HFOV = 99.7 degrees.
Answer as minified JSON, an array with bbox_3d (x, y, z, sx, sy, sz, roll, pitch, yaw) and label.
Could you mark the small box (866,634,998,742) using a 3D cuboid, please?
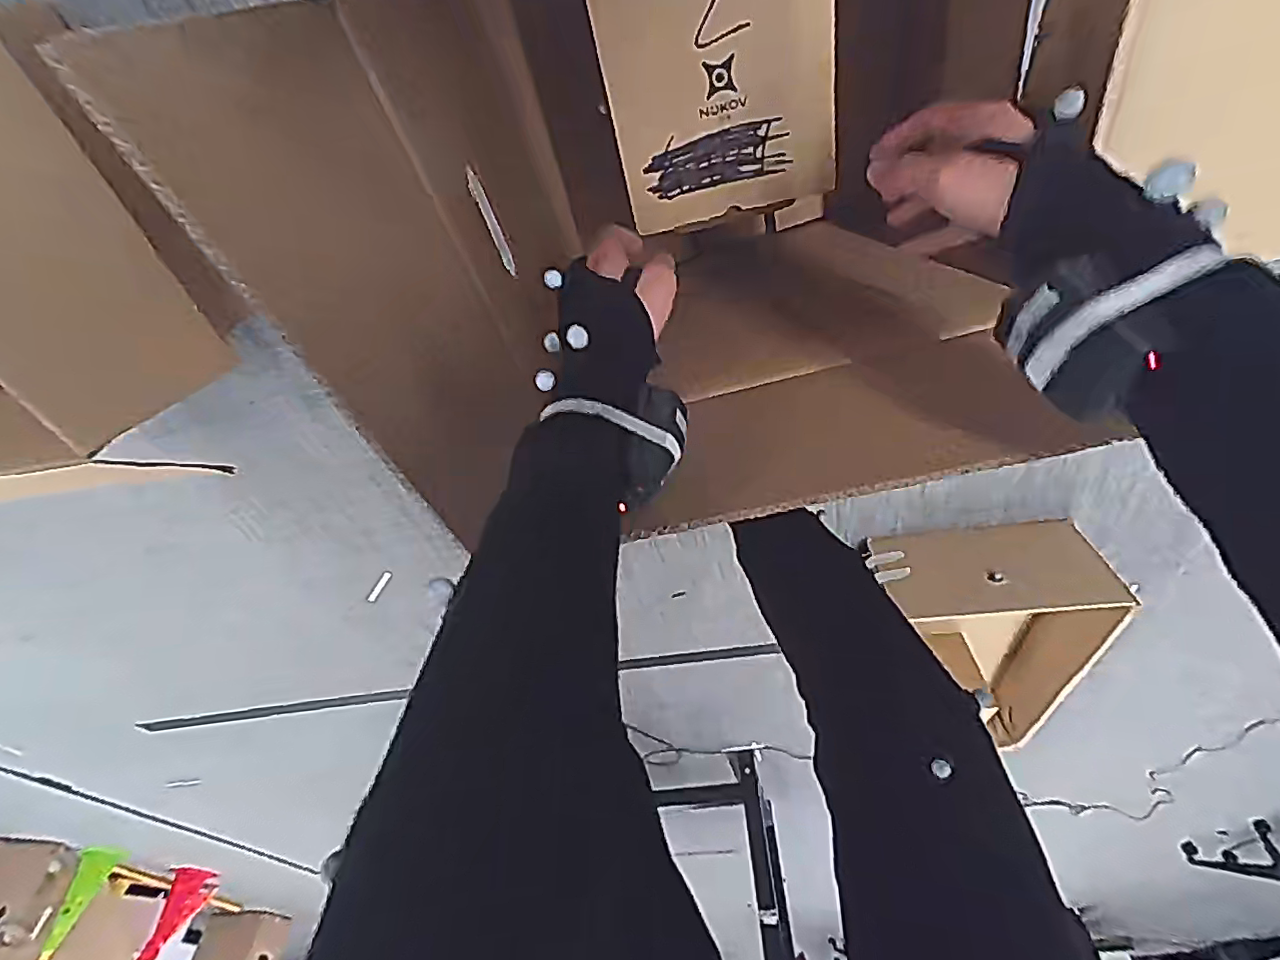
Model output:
[{"bbox_3d":[0.613,0.446,1.168,0.179,0.176,0.168,-1,133,0],"label":"small box"}]
